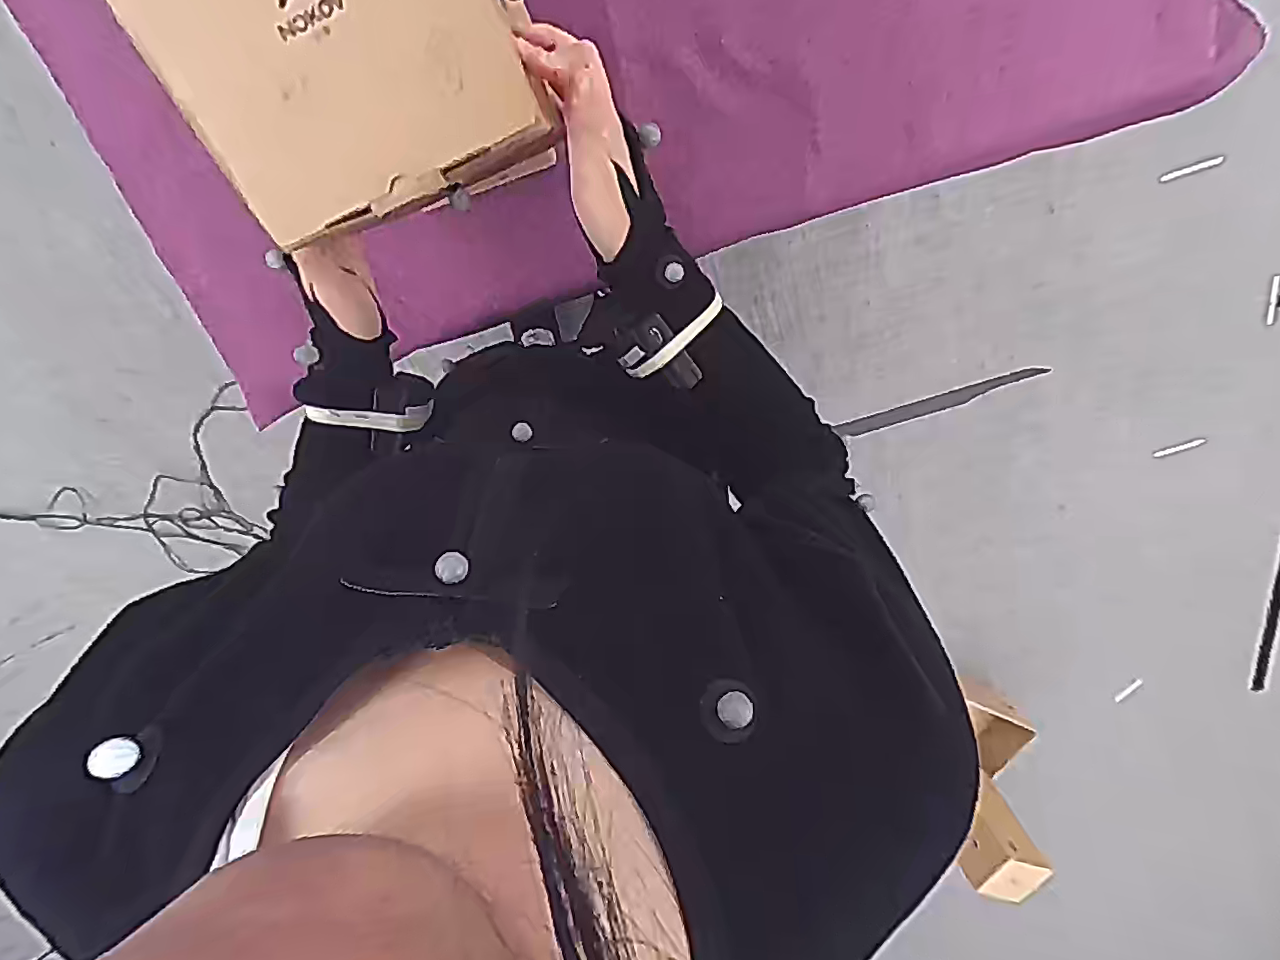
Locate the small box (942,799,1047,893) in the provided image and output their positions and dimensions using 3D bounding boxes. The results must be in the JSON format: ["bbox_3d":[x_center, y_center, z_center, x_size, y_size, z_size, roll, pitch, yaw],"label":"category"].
[{"bbox_3d":[1.084,1.126,1.671,0.179,0.176,0.168,21,112,-13],"label":"small box"}]

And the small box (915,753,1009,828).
[{"bbox_3d":[1.075,1.055,1.821,0.179,0.176,0.168,21,112,-14],"label":"small box"}]

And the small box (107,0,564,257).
[{"bbox_3d":[-0.155,-0.261,0.316,0.168,0.176,0.179,-19,122,10],"label":"small box"}]
